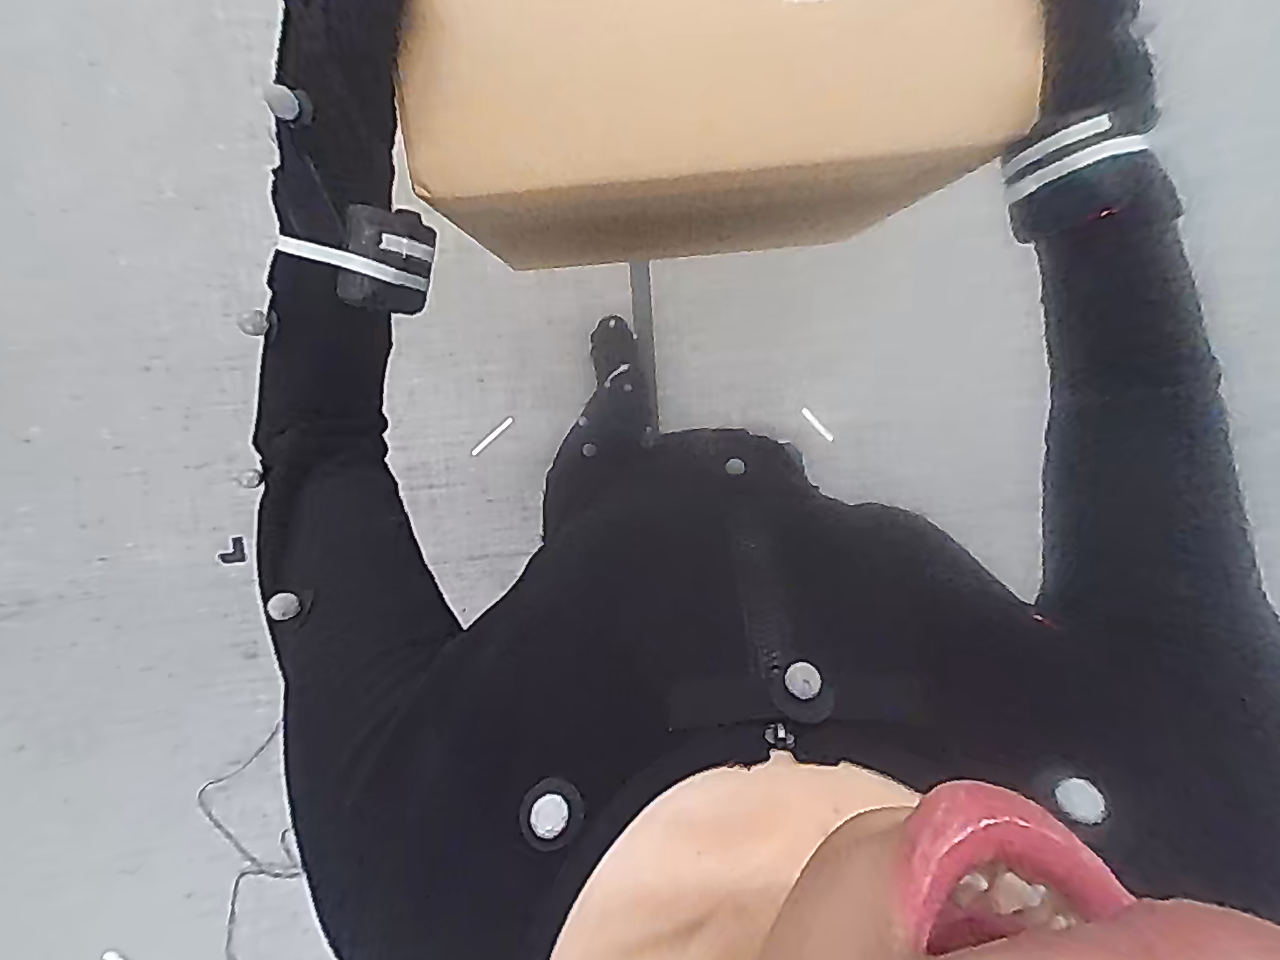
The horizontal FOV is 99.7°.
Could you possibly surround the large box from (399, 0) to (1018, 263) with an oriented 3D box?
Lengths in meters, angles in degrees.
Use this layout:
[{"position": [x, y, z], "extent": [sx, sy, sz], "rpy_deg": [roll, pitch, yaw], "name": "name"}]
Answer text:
[{"position": [0.033, -0.401, 0.477], "extent": [0.408, 0.320, 0.320], "rpy_deg": [-6, 103, -1], "name": "large box"}]
